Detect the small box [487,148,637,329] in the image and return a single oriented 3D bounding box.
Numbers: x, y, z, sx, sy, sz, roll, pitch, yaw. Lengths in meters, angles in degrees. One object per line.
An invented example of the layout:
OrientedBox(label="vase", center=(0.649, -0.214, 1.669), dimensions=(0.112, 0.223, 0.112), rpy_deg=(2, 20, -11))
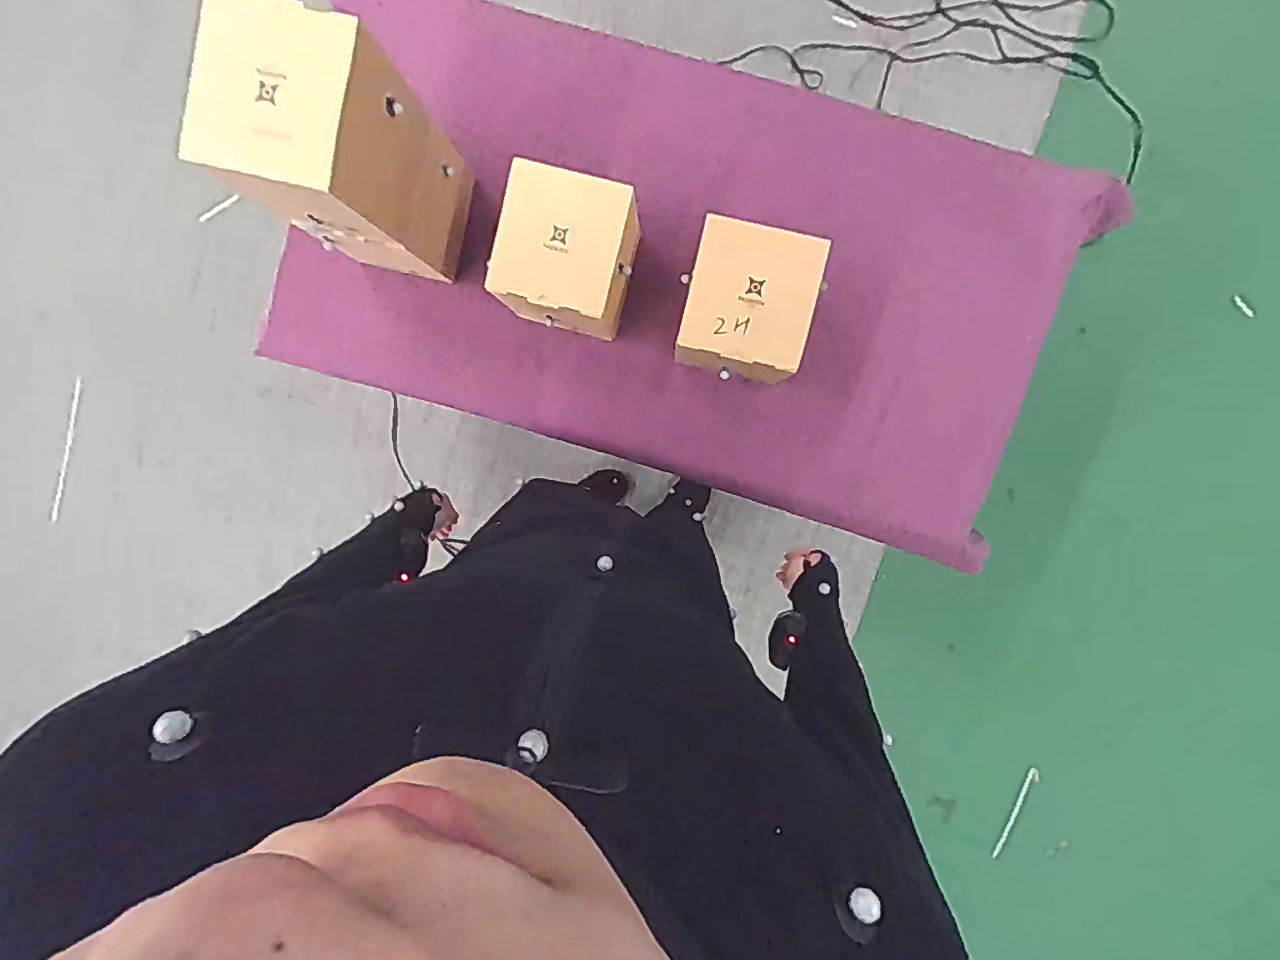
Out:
OrientedBox(label="small box", center=(-0.103, -0.336, 0.788), dimensions=(0.168, 0.176, 0.179), rpy_deg=(15, 97, 1))

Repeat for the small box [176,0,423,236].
OrientedBox(label="small box", center=(-0.373, -0.414, 0.624), dimensions=(0.168, 0.176, 0.179), rpy_deg=(14, 96, 1))

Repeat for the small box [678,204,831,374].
OrientedBox(label="small box", center=(0.151, -0.263, 0.783), dimensions=(0.168, 0.176, 0.179), rpy_deg=(14, 97, 1))
